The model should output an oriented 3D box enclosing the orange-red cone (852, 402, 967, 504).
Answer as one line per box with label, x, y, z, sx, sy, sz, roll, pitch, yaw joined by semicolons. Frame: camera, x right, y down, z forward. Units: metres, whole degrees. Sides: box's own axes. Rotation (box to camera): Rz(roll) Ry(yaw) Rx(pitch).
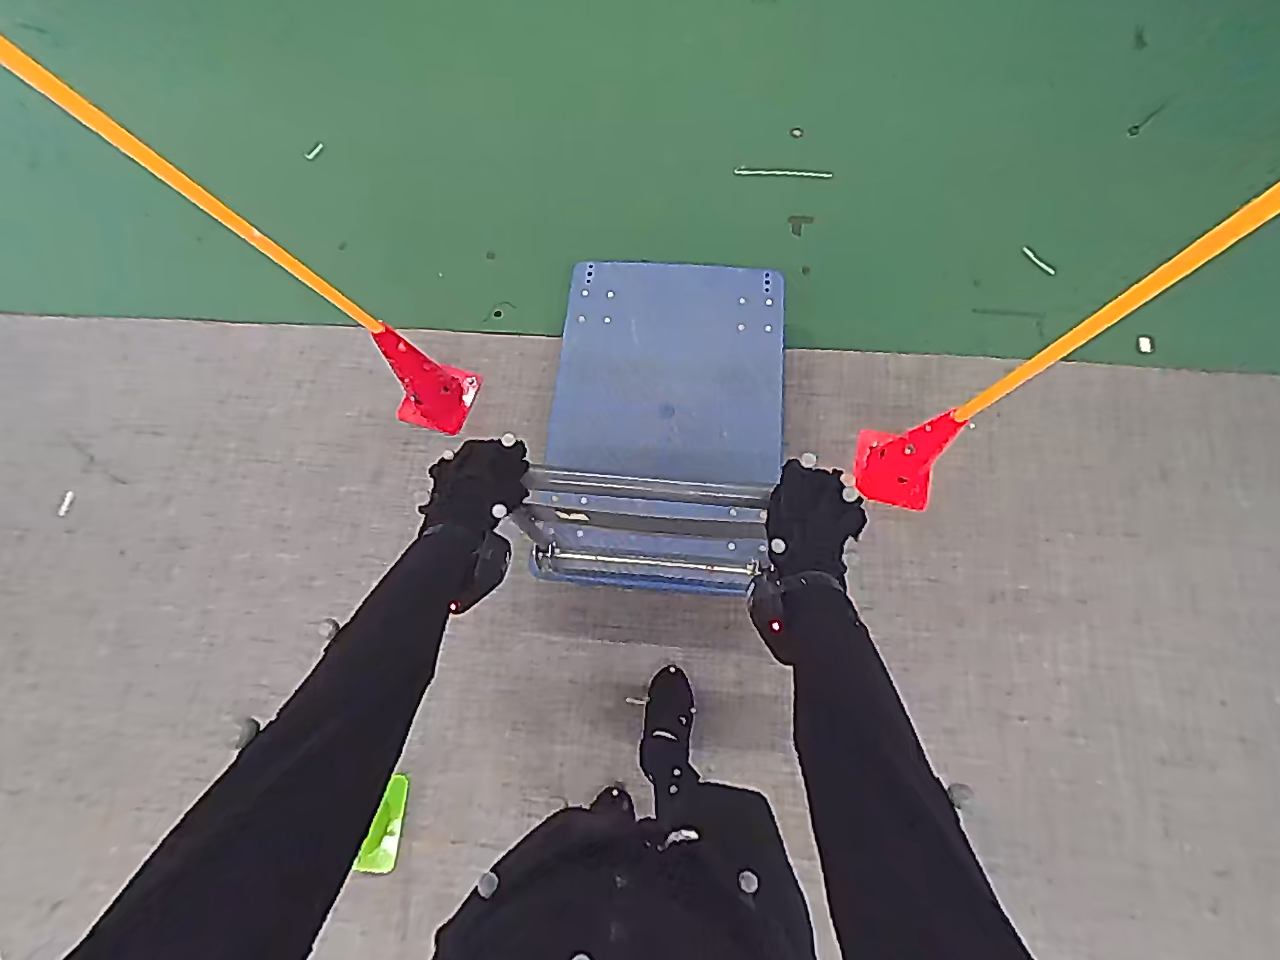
orange-red cone;0.672;-0.093;1.290;0.198;0.360;0.199;14;75;7
